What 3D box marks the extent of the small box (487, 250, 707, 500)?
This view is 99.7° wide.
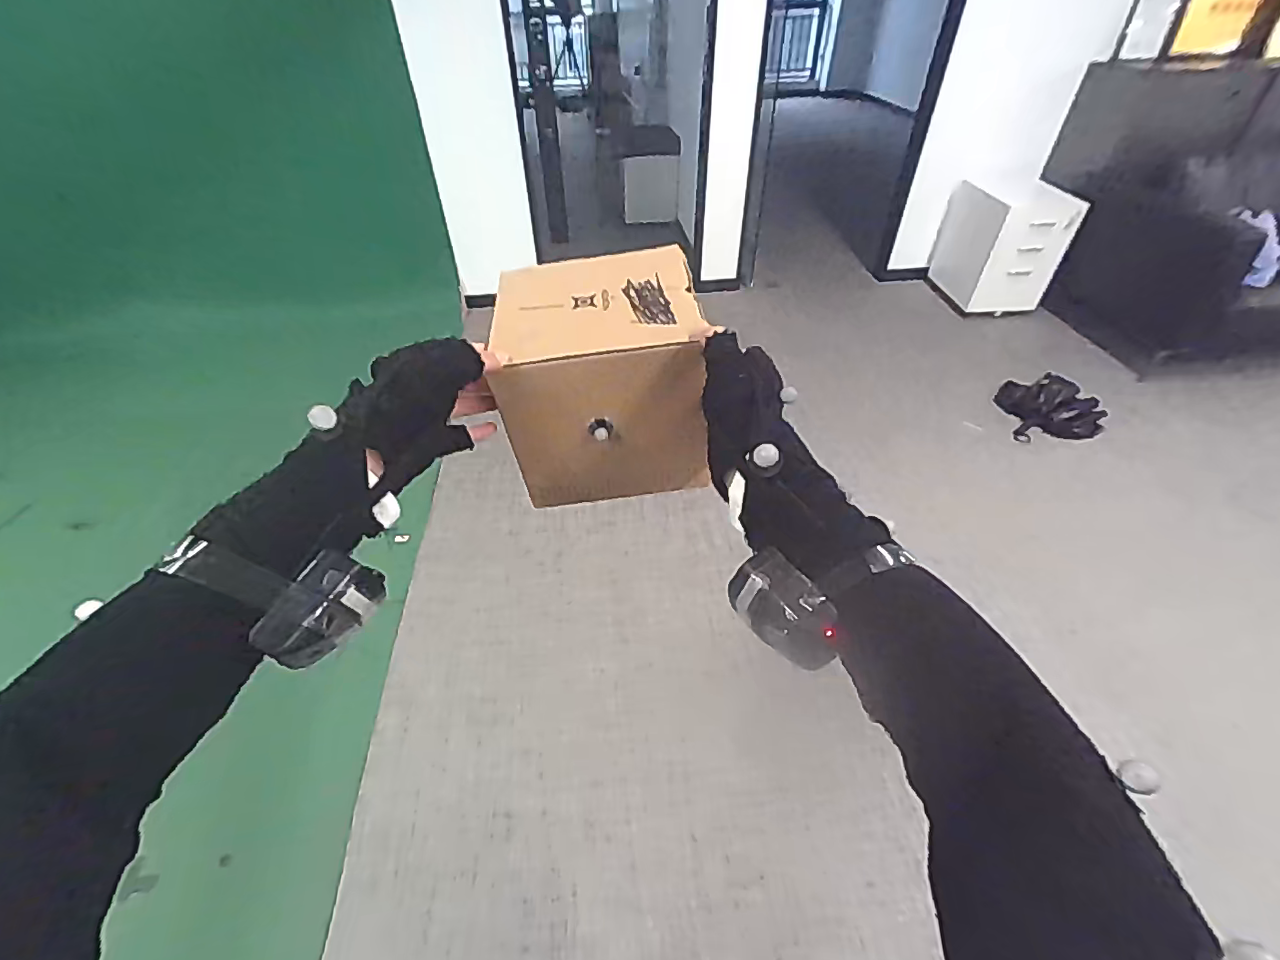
[{"bbox_3d":[-0.033,-0.100,0.532,0.179,0.176,0.168,-8,46,1],"label":"small box"}]
